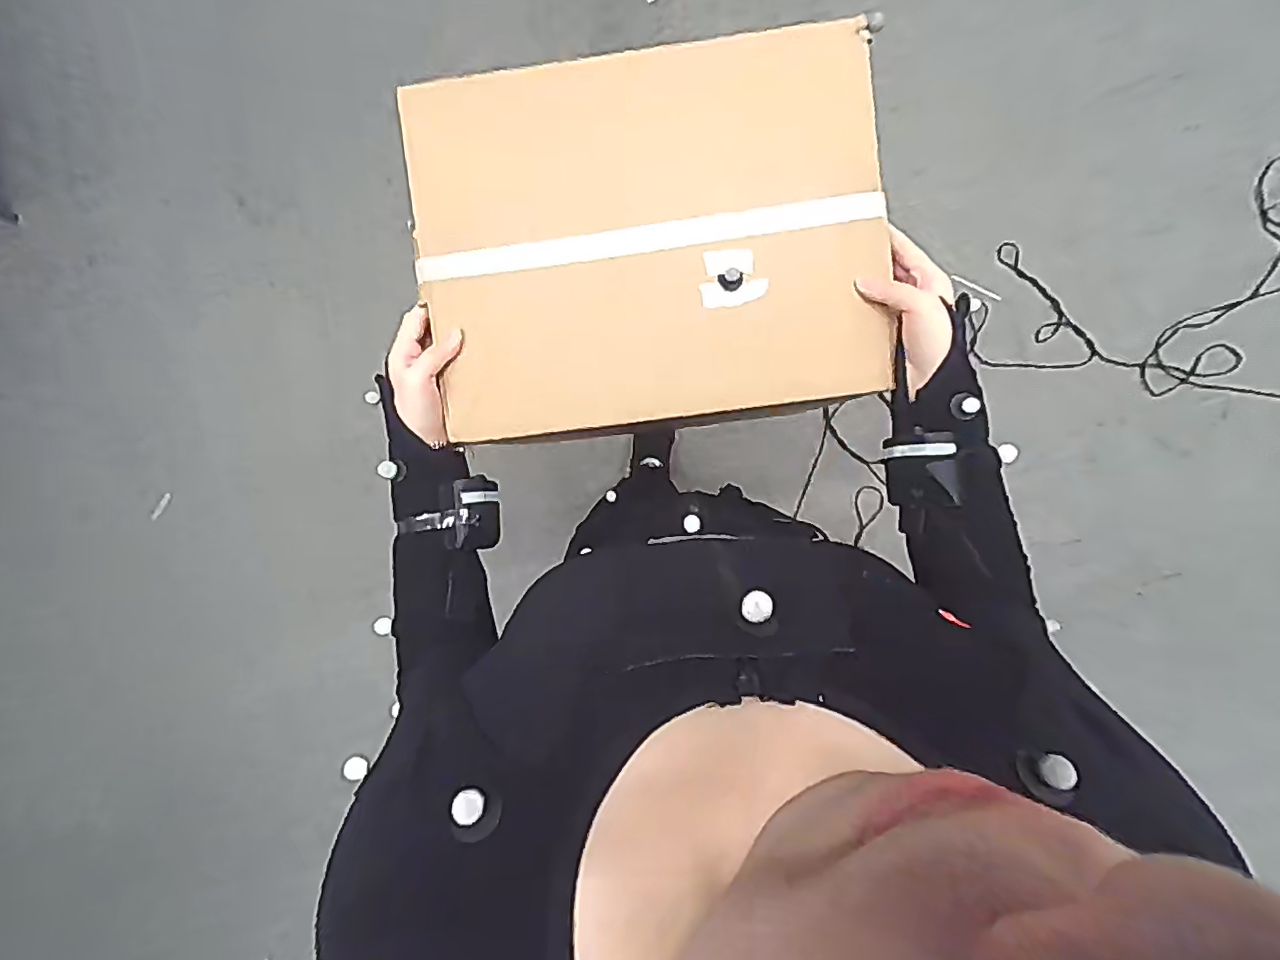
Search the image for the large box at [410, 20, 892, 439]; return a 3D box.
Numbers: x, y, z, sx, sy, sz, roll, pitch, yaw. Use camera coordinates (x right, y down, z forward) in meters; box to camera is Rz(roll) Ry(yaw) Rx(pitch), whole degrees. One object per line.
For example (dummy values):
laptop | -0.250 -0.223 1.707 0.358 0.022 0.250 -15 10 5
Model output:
large box | 0.012 -0.229 0.628 0.408 0.320 0.320 -7 94 1
